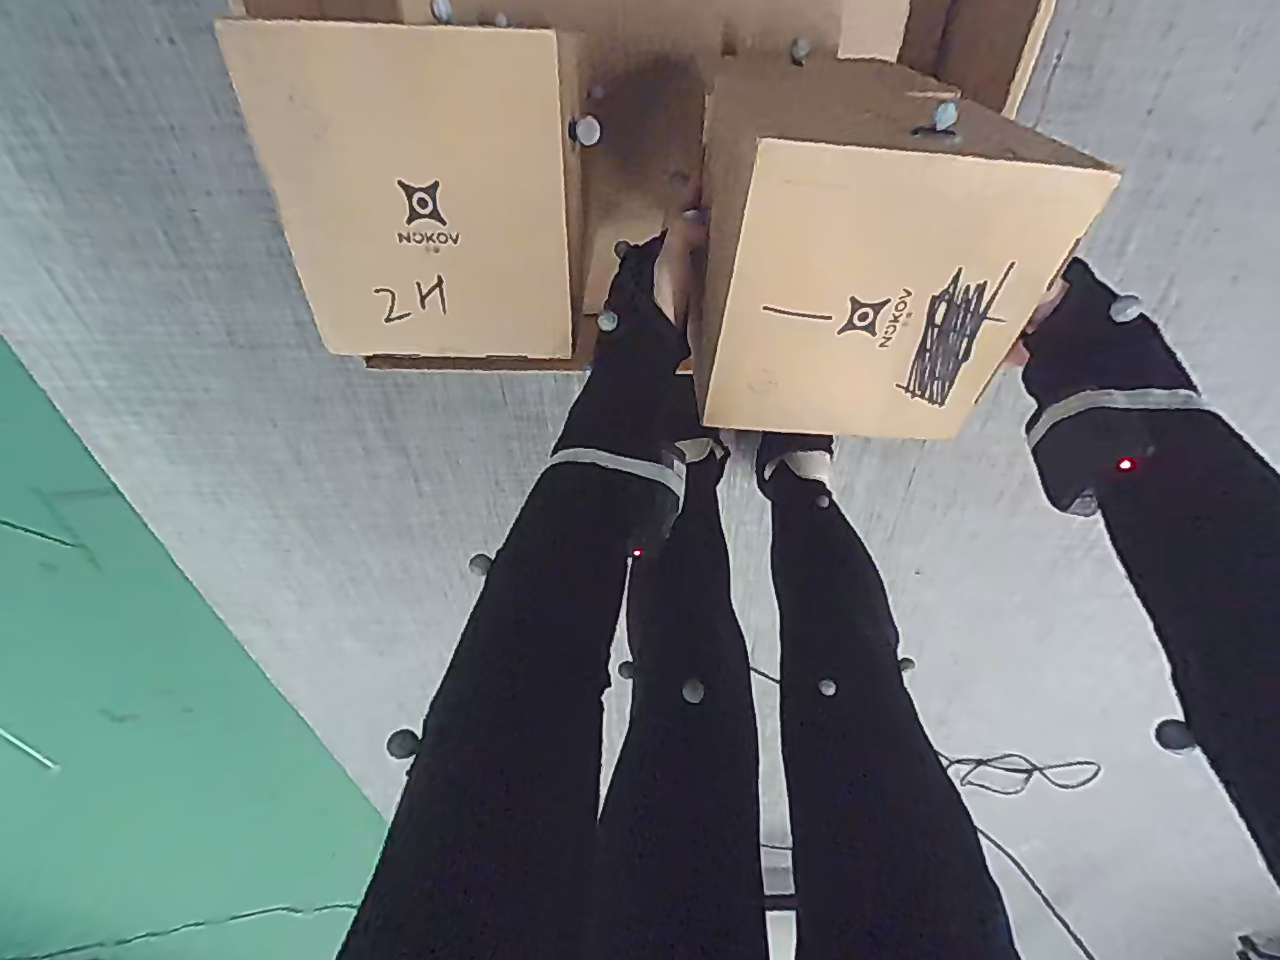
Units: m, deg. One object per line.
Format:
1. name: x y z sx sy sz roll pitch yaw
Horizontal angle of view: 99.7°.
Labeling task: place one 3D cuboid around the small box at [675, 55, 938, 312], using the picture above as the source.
1. small box: 0.123 -0.269 0.489 0.179 0.176 0.168 1 134 1

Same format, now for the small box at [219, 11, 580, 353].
1. small box: -0.132 -0.207 0.382 0.168 0.176 0.179 1 129 -1
